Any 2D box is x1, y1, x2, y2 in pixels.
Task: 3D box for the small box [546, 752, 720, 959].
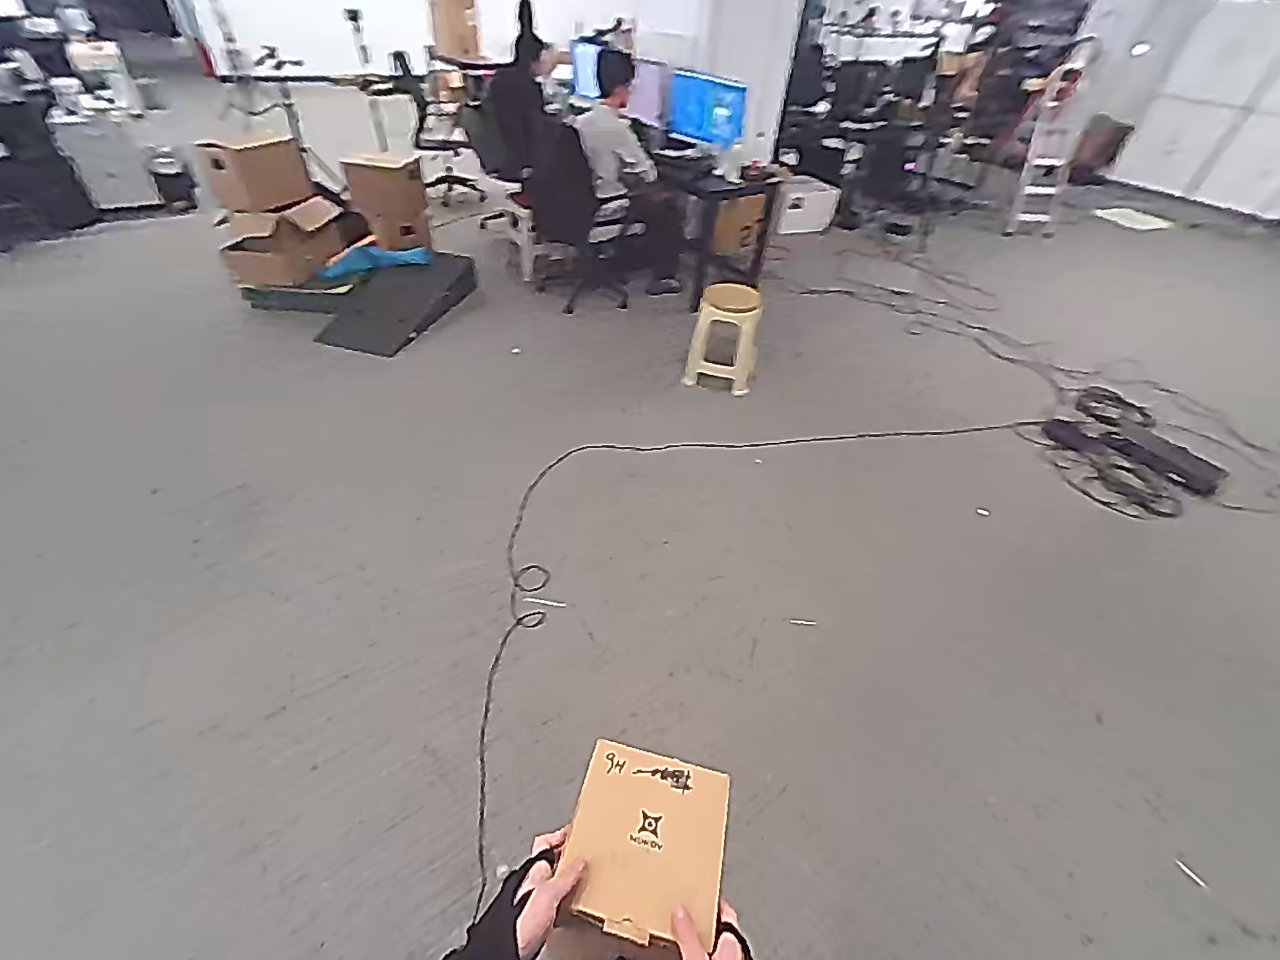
[{"bbox_3d":[-0.005,0.462,0.636,0.168,0.176,0.179,10,35,5],"label":"small box"}]
